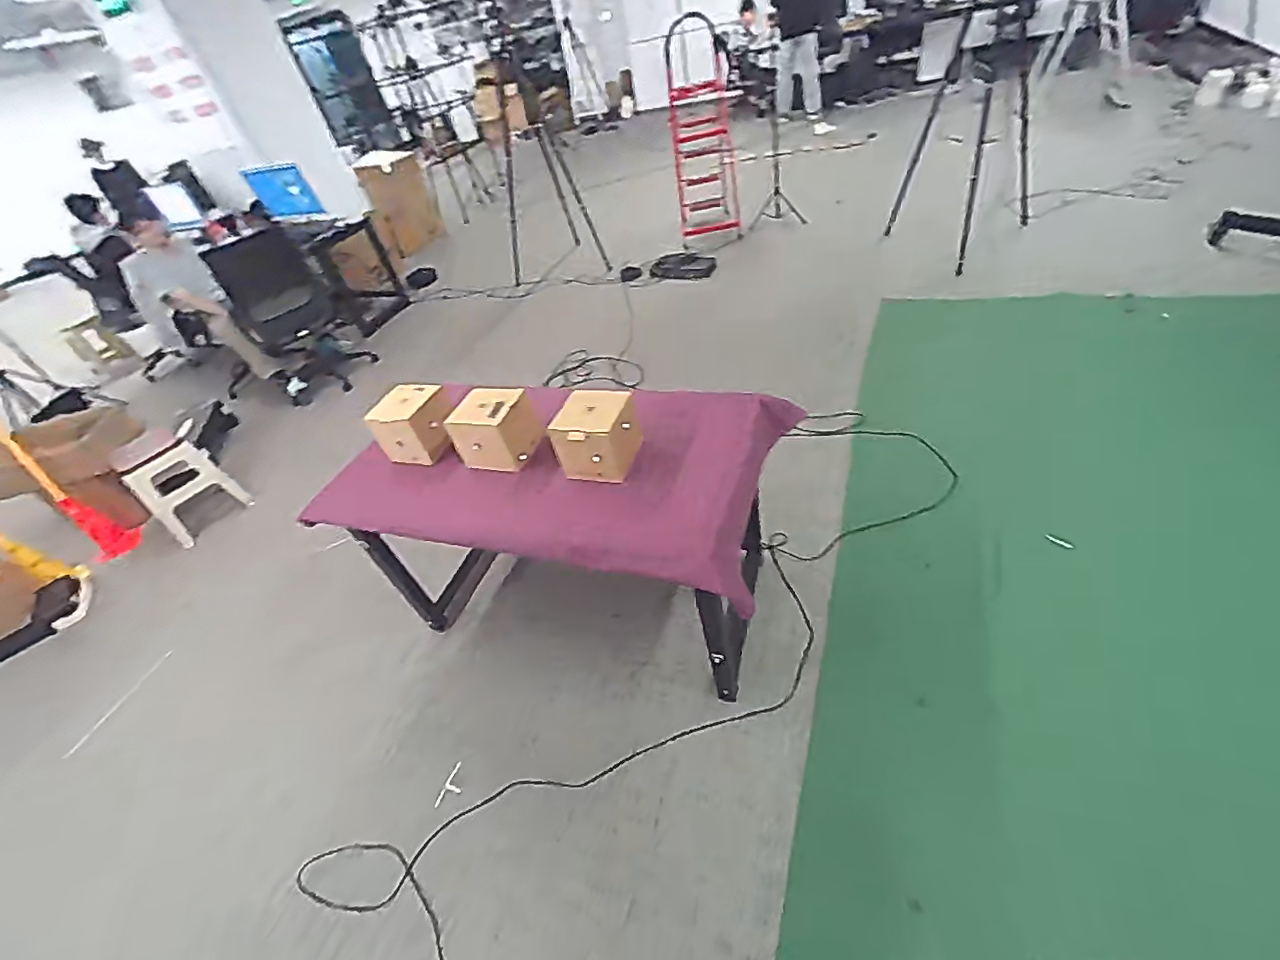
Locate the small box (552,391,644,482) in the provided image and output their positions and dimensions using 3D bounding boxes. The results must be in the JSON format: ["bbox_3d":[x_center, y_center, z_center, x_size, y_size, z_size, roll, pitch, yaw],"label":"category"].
[{"bbox_3d":[-0.101,-0.112,1.410,0.168,0.176,0.179,6,45,22],"label":"small box"}]

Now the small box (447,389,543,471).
[{"bbox_3d":[-0.398,-0.140,1.527,0.179,0.176,0.168,4,45,22],"label":"small box"}]

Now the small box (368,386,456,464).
[{"bbox_3d":[-0.667,-0.167,1.635,0.168,0.176,0.179,5,46,21],"label":"small box"}]
